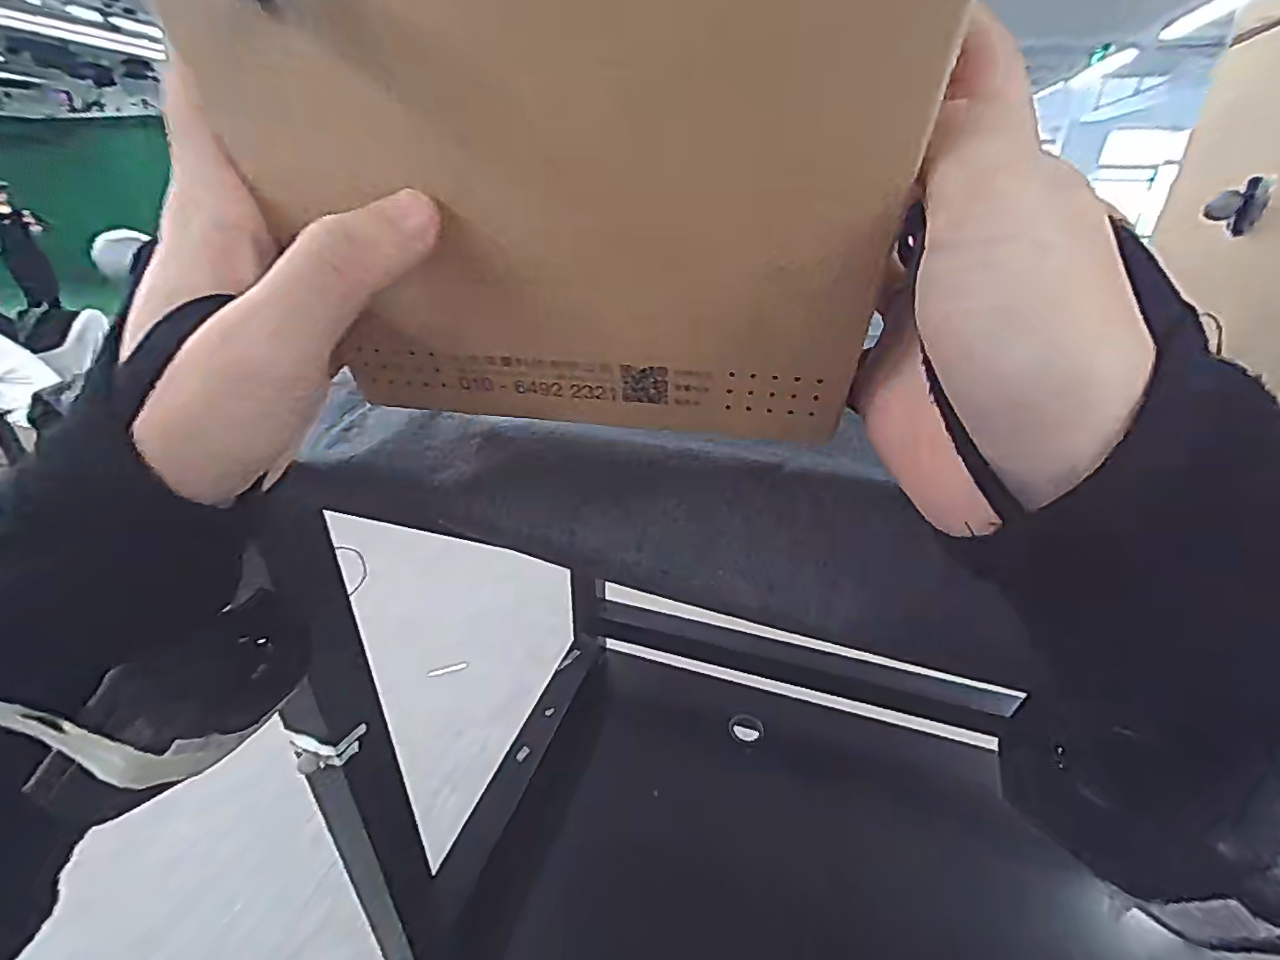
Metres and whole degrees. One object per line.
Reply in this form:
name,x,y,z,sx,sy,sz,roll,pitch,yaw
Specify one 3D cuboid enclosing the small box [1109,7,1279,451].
small box,0.333,-0.095,0.203,0.168,0.176,0.179,9,26,16
